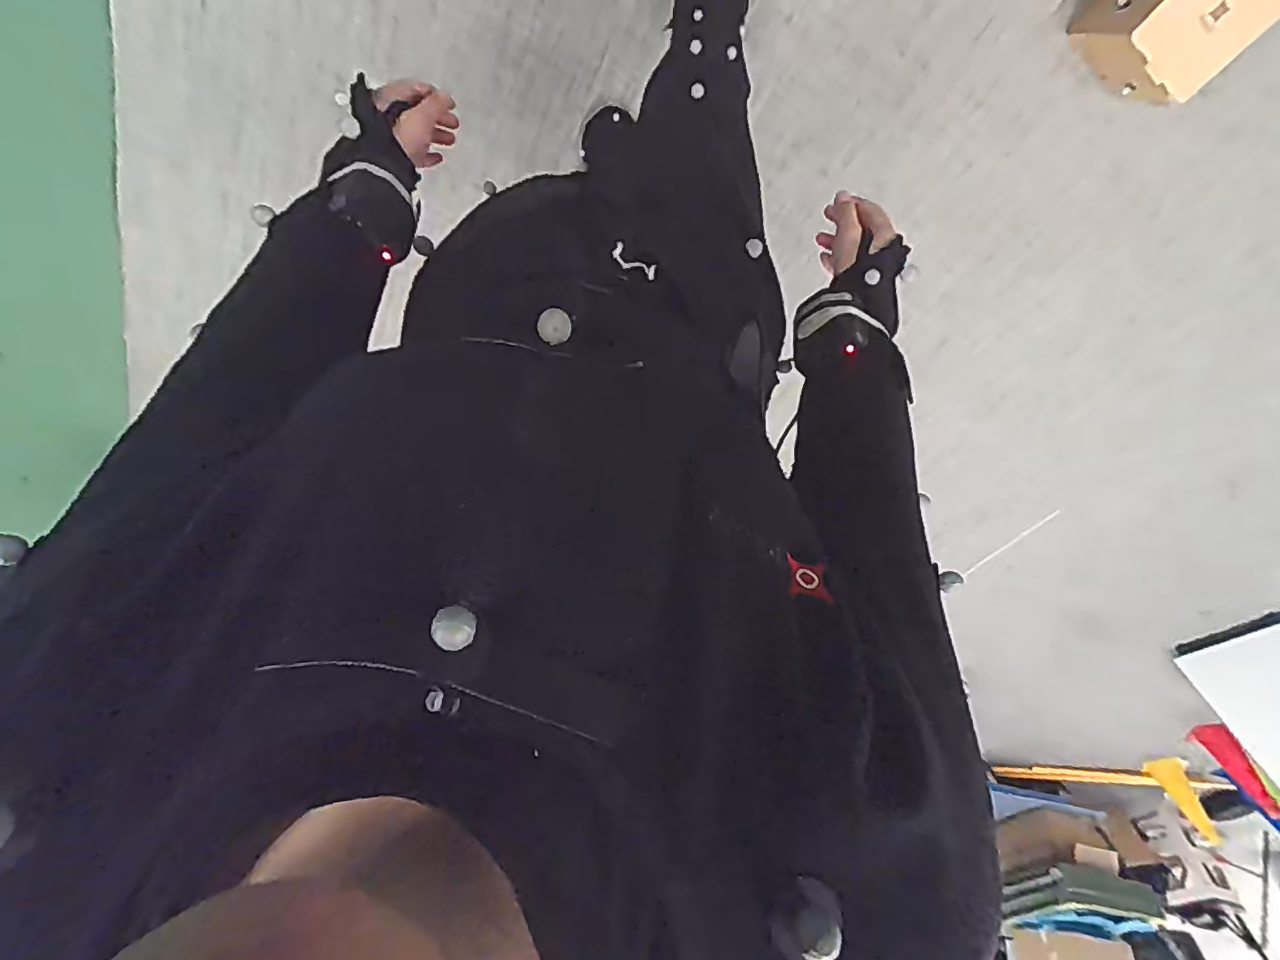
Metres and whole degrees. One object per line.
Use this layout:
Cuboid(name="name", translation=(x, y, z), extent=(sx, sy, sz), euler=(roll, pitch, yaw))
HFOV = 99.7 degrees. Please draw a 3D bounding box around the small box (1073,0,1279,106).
Cuboid(name="small box", translation=(0.847, -0.747, 0.863), extent=(0.168, 0.176, 0.179), euler=(27, 125, -23))
